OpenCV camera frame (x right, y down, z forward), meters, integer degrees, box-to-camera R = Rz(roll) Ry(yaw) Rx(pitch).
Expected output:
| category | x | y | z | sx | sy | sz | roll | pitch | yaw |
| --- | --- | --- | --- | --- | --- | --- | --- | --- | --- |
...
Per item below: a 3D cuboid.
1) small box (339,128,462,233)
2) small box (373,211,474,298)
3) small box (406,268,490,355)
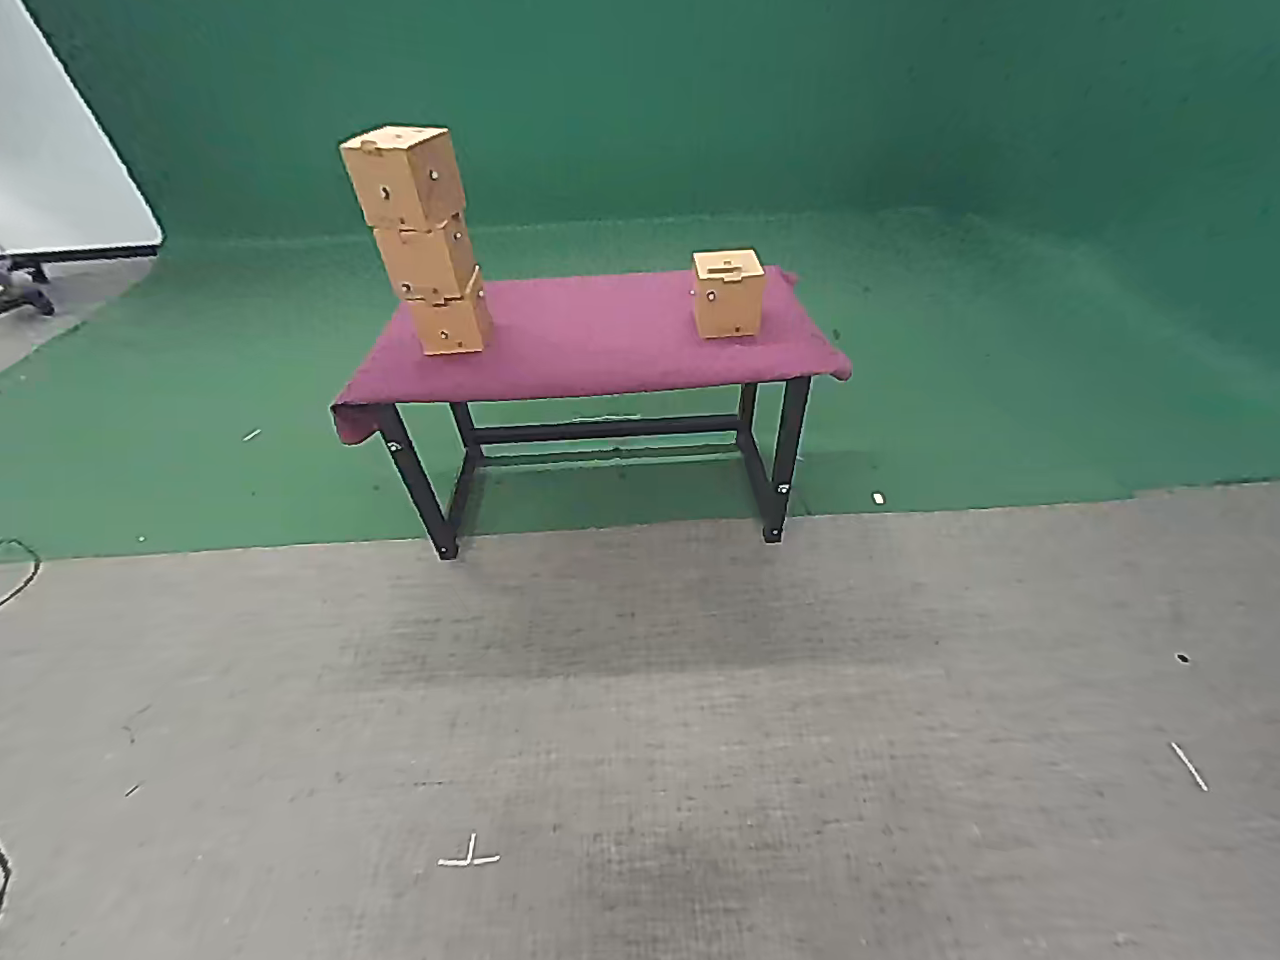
| category | x | y | z | sx | sy | sz | roll | pitch | yaw |
| --- | --- | --- | --- | --- | --- | --- | --- | --- | --- |
| small box | -0.535 | -0.687 | 1.242 | 0.168 | 0.176 | 0.179 | 12 | 48 | 13 |
| small box | -0.530 | -0.567 | 1.354 | 0.168 | 0.176 | 0.179 | -1 | 44 | 2 |
| small box | -0.515 | -0.461 | 1.480 | 0.168 | 0.176 | 0.179 | -4 | 45 | -2 |
